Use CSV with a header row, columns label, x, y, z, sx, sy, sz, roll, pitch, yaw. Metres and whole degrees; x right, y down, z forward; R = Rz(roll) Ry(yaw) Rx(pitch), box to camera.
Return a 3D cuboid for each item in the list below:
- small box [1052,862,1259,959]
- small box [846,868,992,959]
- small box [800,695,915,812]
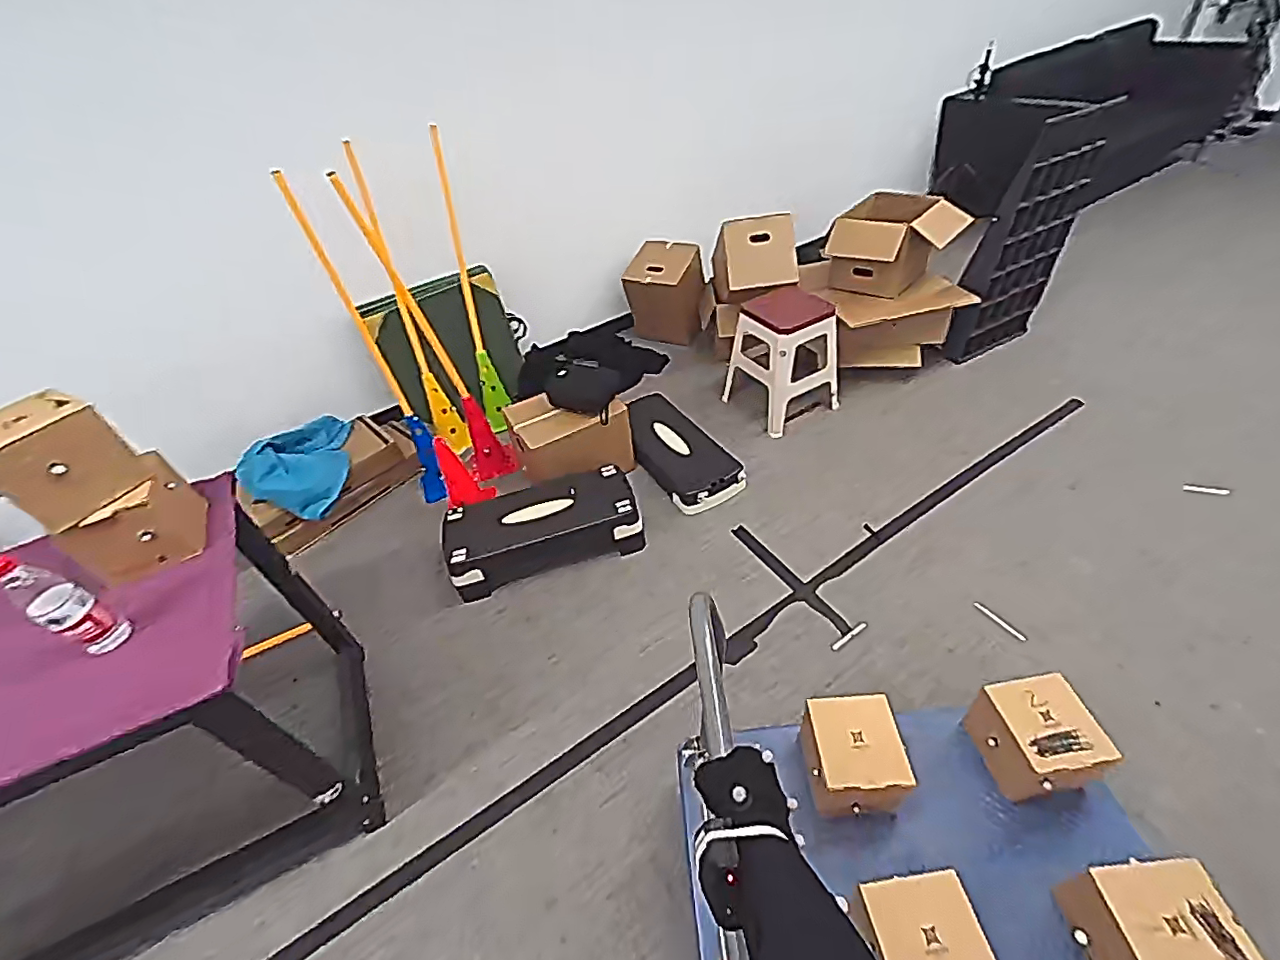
label,x,y,z,sx,sy,sz,roll,pitch,yaw
small box,0.835,0.747,0.885,0.179,0.176,0.168,-7,43,3
small box,0.463,0.782,0.904,0.168,0.176,0.179,-8,43,0
small box,0.441,0.572,1.131,0.168,0.176,0.179,-4,45,3
